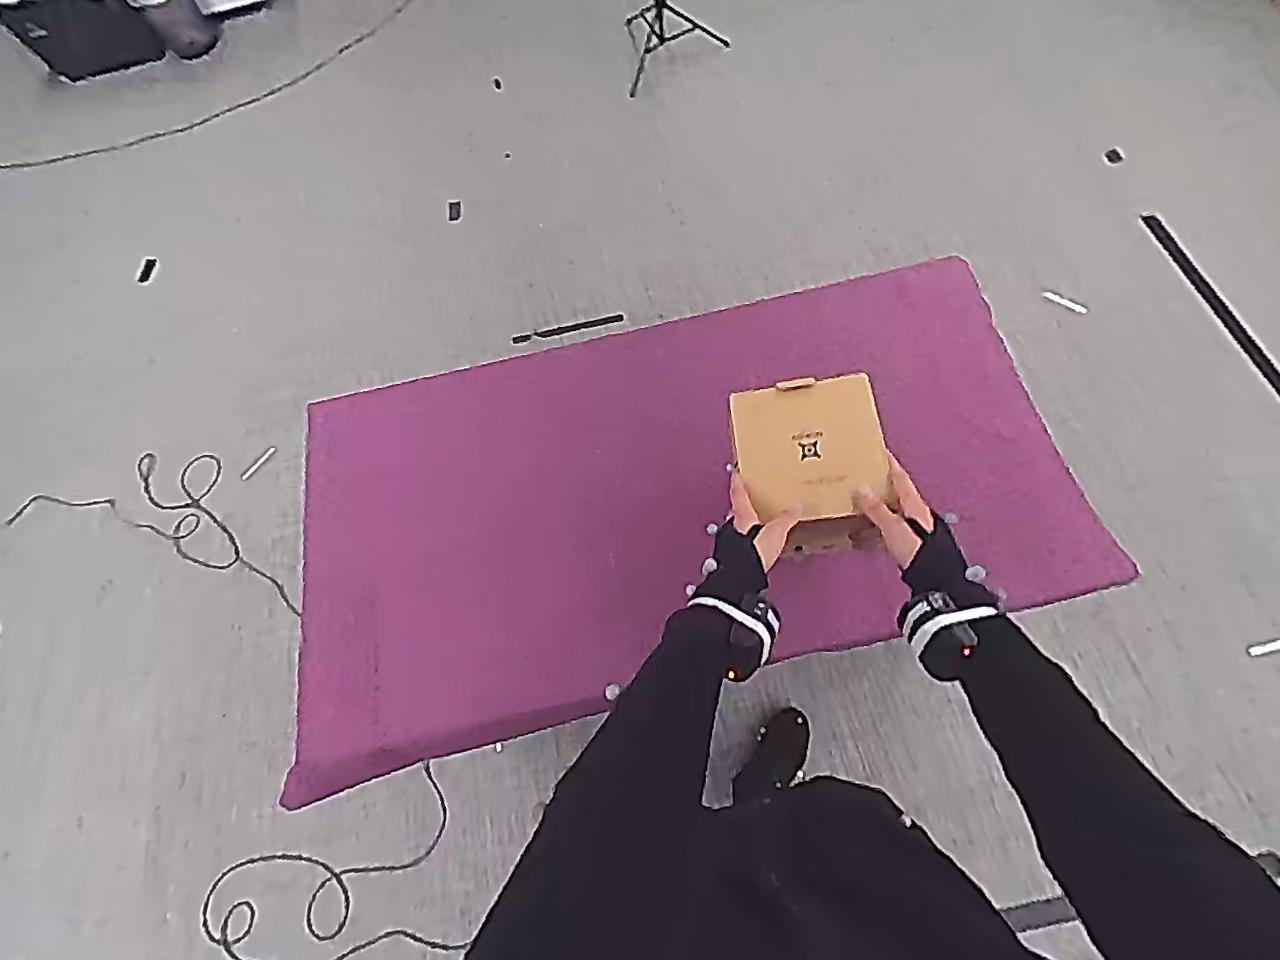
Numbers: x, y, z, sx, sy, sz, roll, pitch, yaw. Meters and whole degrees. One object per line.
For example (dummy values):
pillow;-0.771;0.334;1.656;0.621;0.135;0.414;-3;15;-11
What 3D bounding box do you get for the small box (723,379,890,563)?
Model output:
small box;0.198;-0.003;0.692;0.168;0.176;0.179;-7;67;9
